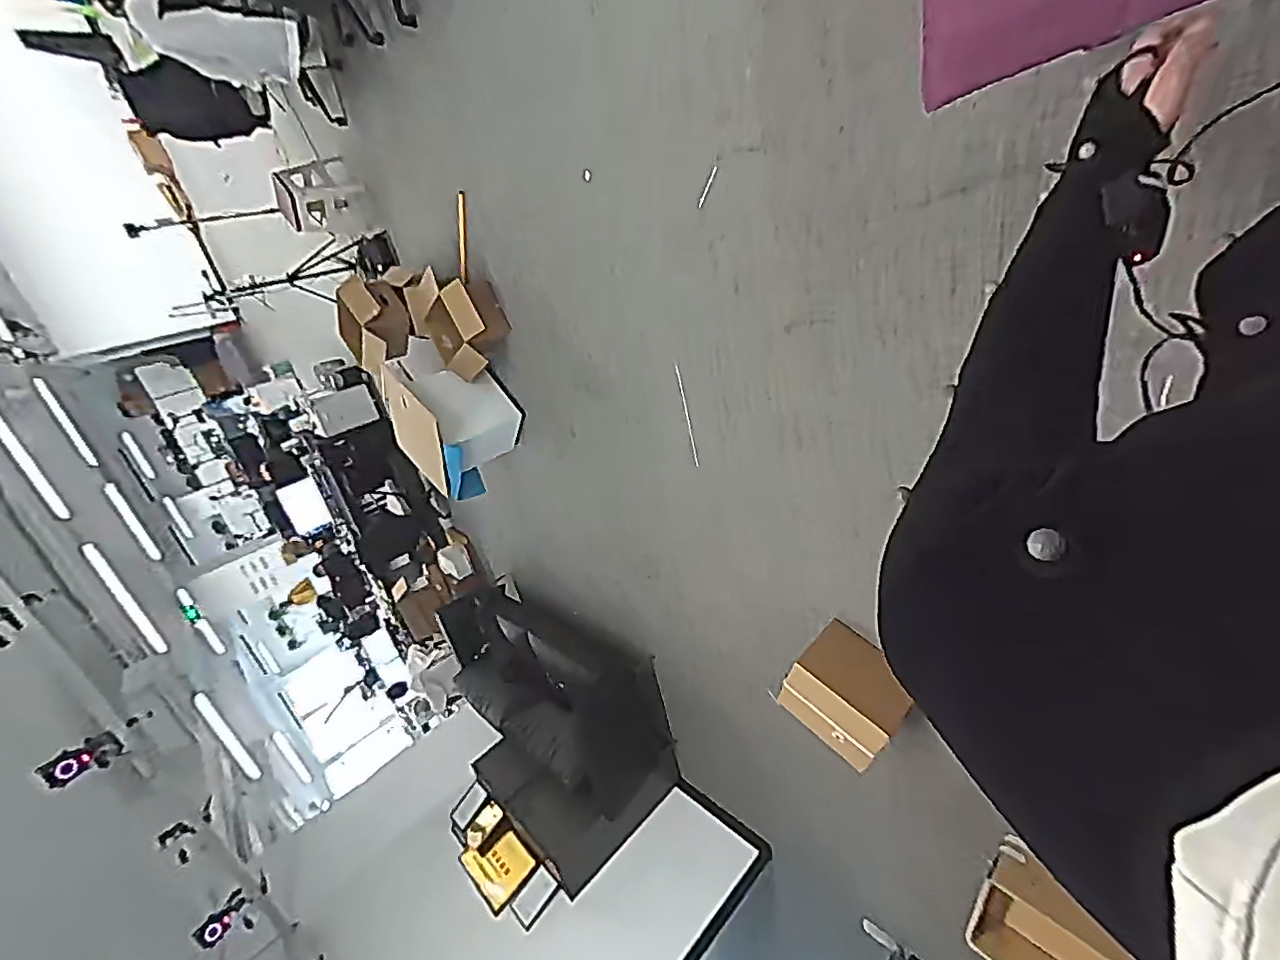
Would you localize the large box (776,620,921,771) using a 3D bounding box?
[{"bbox_3d":[0.828,0.854,2.180,0.408,0.320,0.320,34,139,30],"label":"large box"}]
